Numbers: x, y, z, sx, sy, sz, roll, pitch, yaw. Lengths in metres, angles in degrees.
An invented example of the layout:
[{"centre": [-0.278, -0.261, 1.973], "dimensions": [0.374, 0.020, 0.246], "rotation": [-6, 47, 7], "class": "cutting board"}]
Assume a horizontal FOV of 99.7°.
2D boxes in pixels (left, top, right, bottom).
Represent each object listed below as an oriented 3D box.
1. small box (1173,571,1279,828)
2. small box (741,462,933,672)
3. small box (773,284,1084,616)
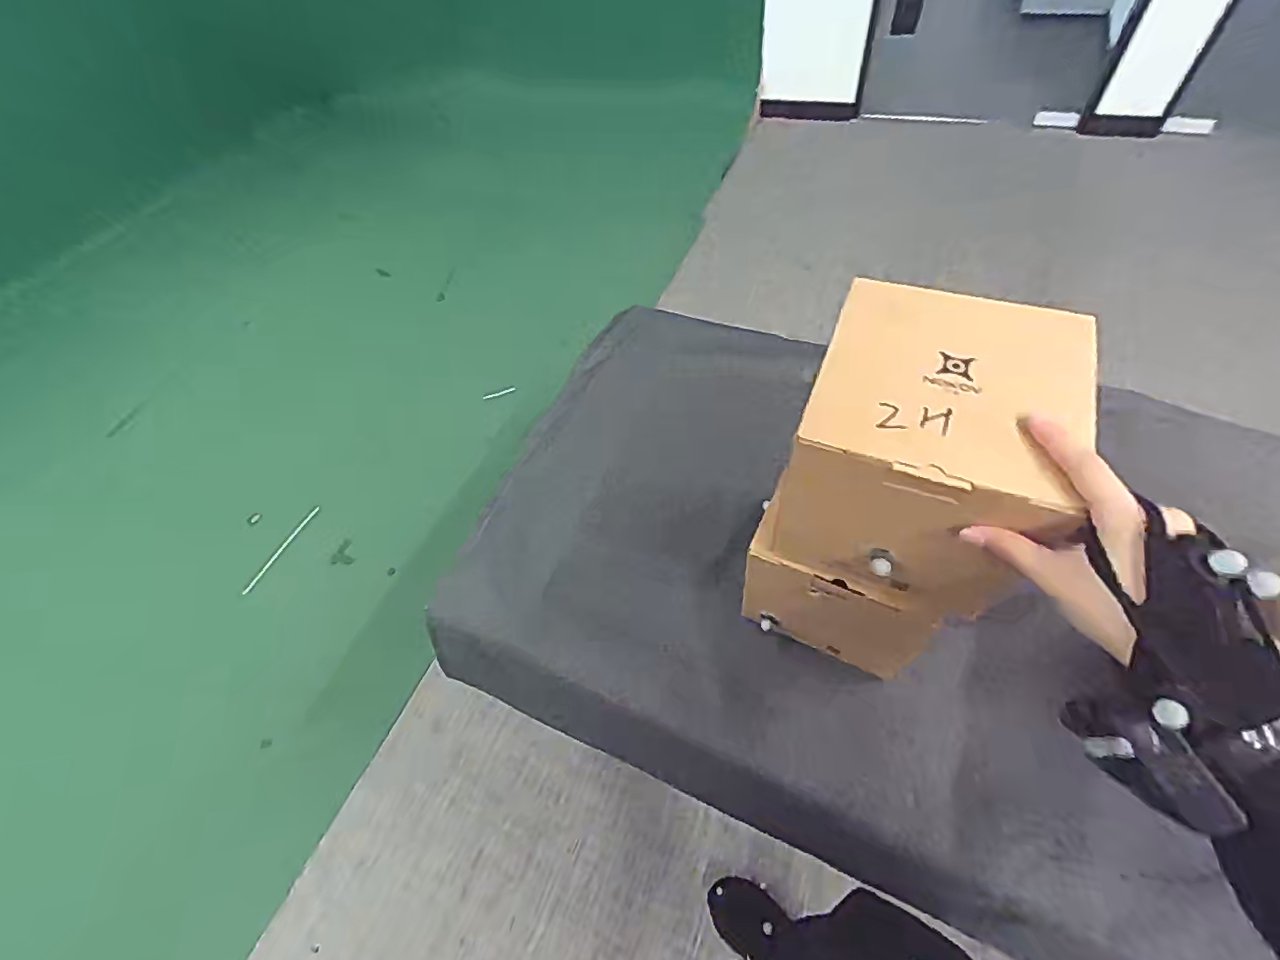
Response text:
[{"centre": [0.577, 0.196, 0.429], "dimensions": [0.168, 0.176, 0.179], "rotation": [19, 61, 20], "class": "small box"}, {"centre": [0.215, 0.074, 0.568], "dimensions": [0.168, 0.176, 0.179], "rotation": [21, 60, 21], "class": "small box"}, {"centre": [0.213, -0.022, 0.432], "dimensions": [0.168, 0.176, 0.179], "rotation": [18, 59, 19], "class": "small box"}]
